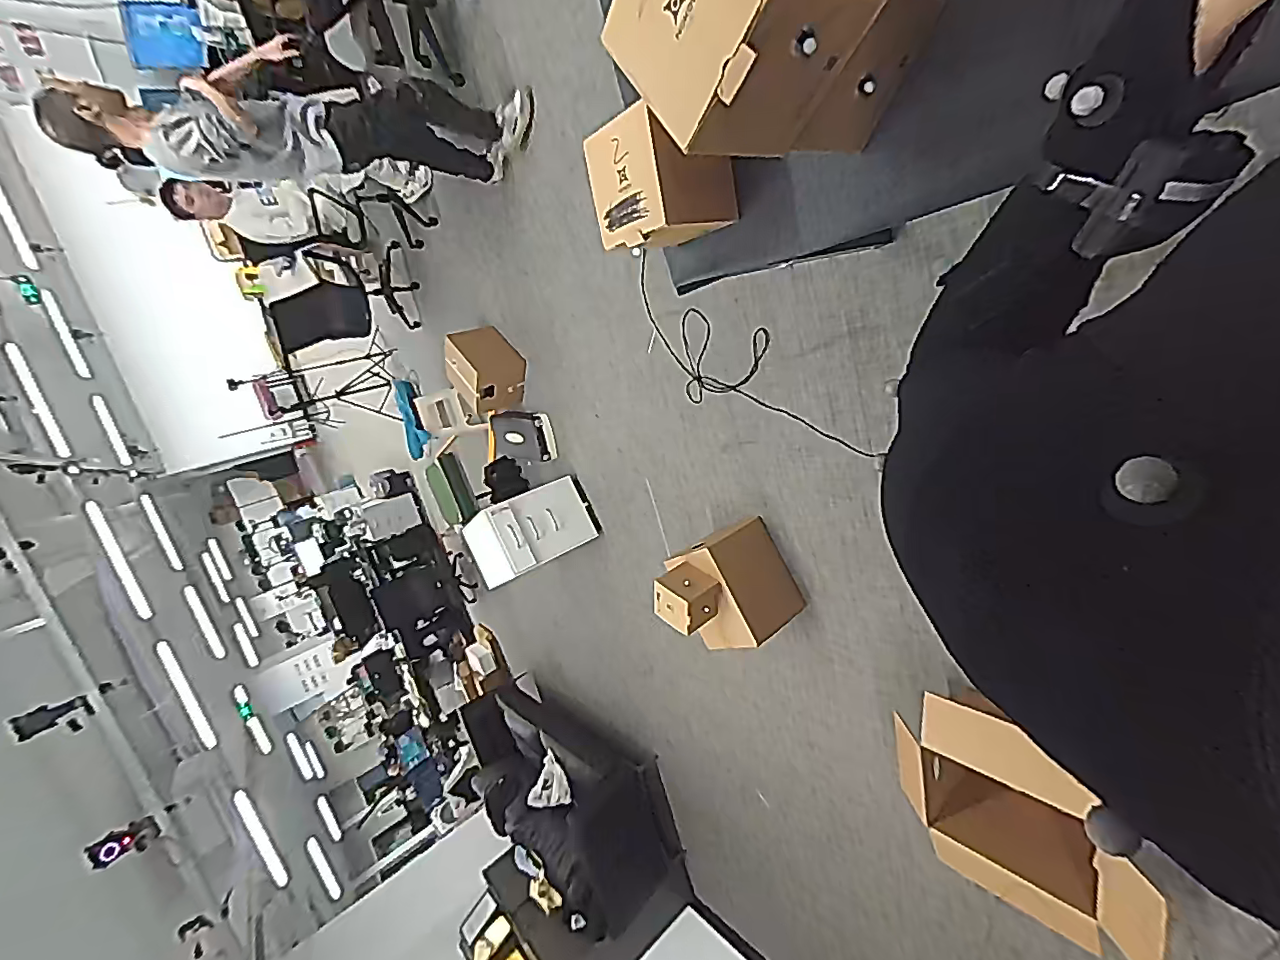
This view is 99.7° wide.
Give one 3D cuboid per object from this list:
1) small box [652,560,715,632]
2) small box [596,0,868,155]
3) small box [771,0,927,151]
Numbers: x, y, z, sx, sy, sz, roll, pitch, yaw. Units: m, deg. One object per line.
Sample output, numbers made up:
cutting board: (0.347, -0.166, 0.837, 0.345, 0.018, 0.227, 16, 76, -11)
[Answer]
small box: (0.166, 0.426, 2.024, 0.179, 0.176, 0.168, 26, 129, 40)
small box: (0.090, -0.465, 0.548, 0.179, 0.176, 0.168, 58, 144, 12)
small box: (0.200, -0.527, 0.652, 0.179, 0.176, 0.168, 50, 142, 21)
